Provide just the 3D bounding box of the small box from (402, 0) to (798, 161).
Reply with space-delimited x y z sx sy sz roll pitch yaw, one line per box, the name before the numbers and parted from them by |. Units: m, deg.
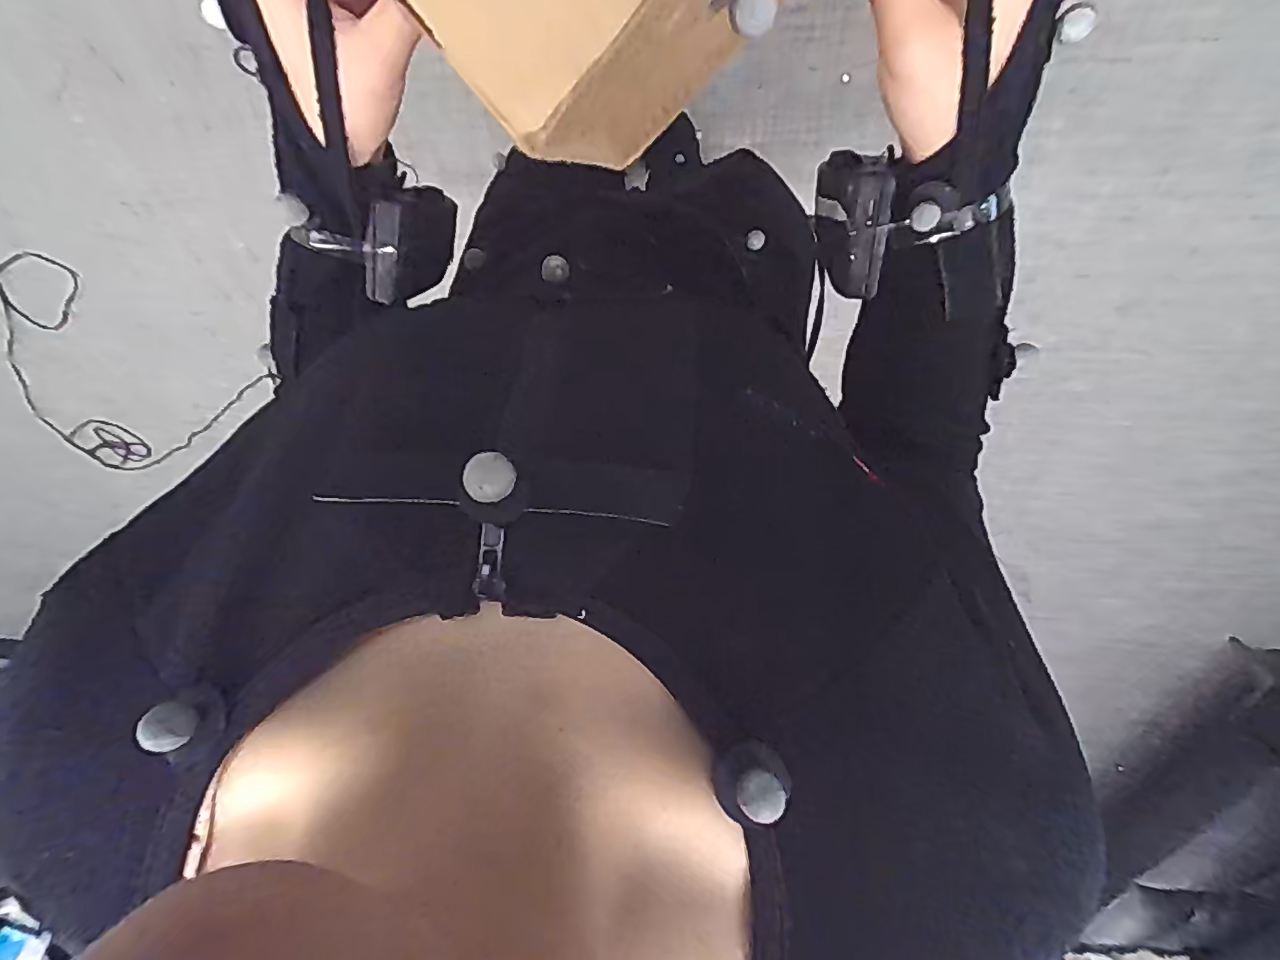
small box | -0.005 -0.230 0.168 0.179 0.176 0.168 -36 108 24
